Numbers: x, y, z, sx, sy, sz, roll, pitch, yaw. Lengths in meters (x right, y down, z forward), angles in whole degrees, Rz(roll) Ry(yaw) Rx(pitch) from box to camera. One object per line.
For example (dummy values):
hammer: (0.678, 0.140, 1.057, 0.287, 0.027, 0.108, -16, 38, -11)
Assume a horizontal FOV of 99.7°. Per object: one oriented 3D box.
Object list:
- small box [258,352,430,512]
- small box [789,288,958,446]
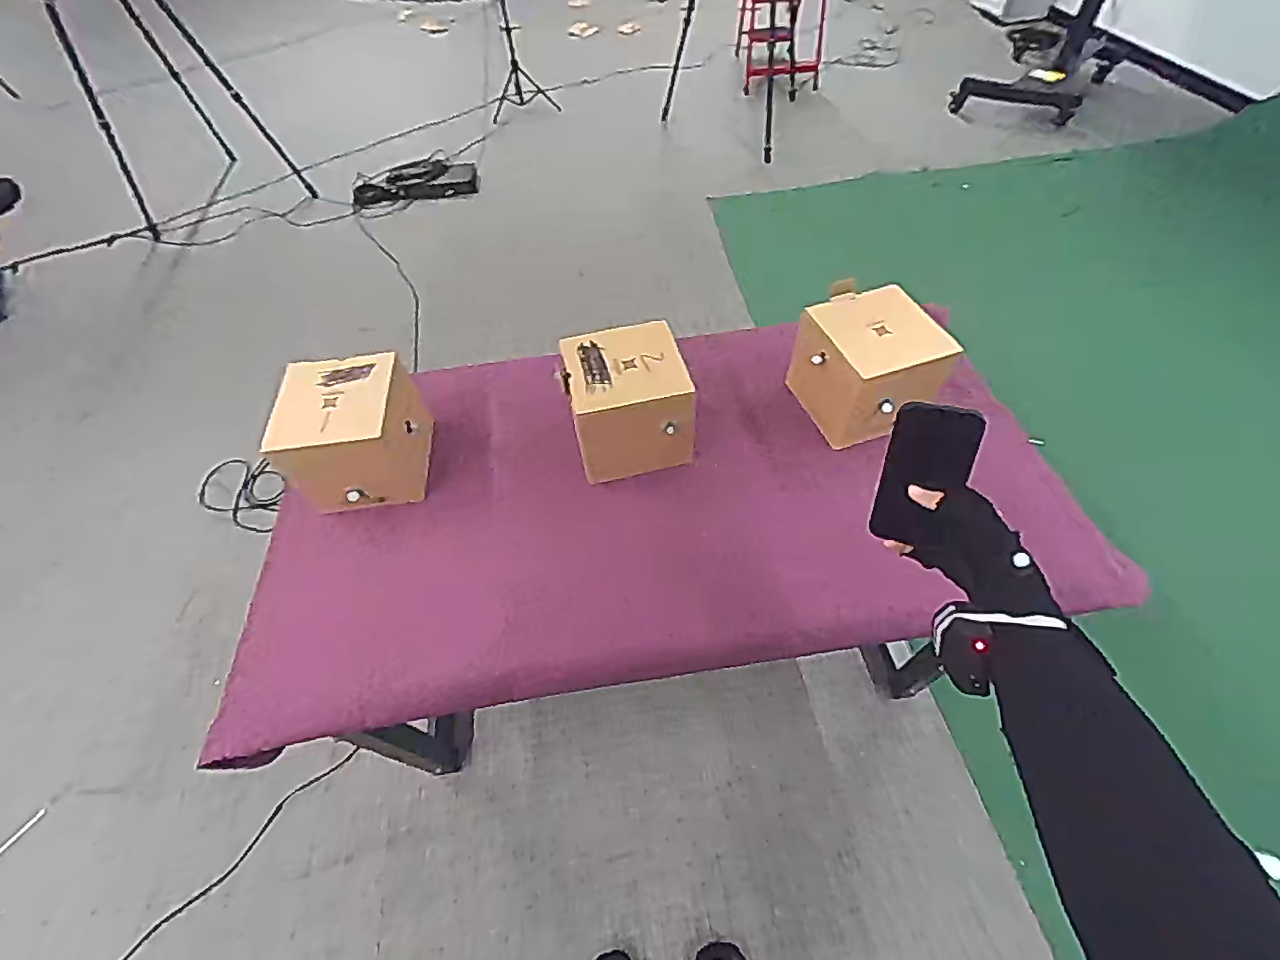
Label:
small box: (-0.443, -0.073, 0.845, 0.168, 0.176, 0.179, -7, 56, -2)
small box: (0.364, -0.175, 0.881, 0.168, 0.176, 0.179, -17, 55, -8)
